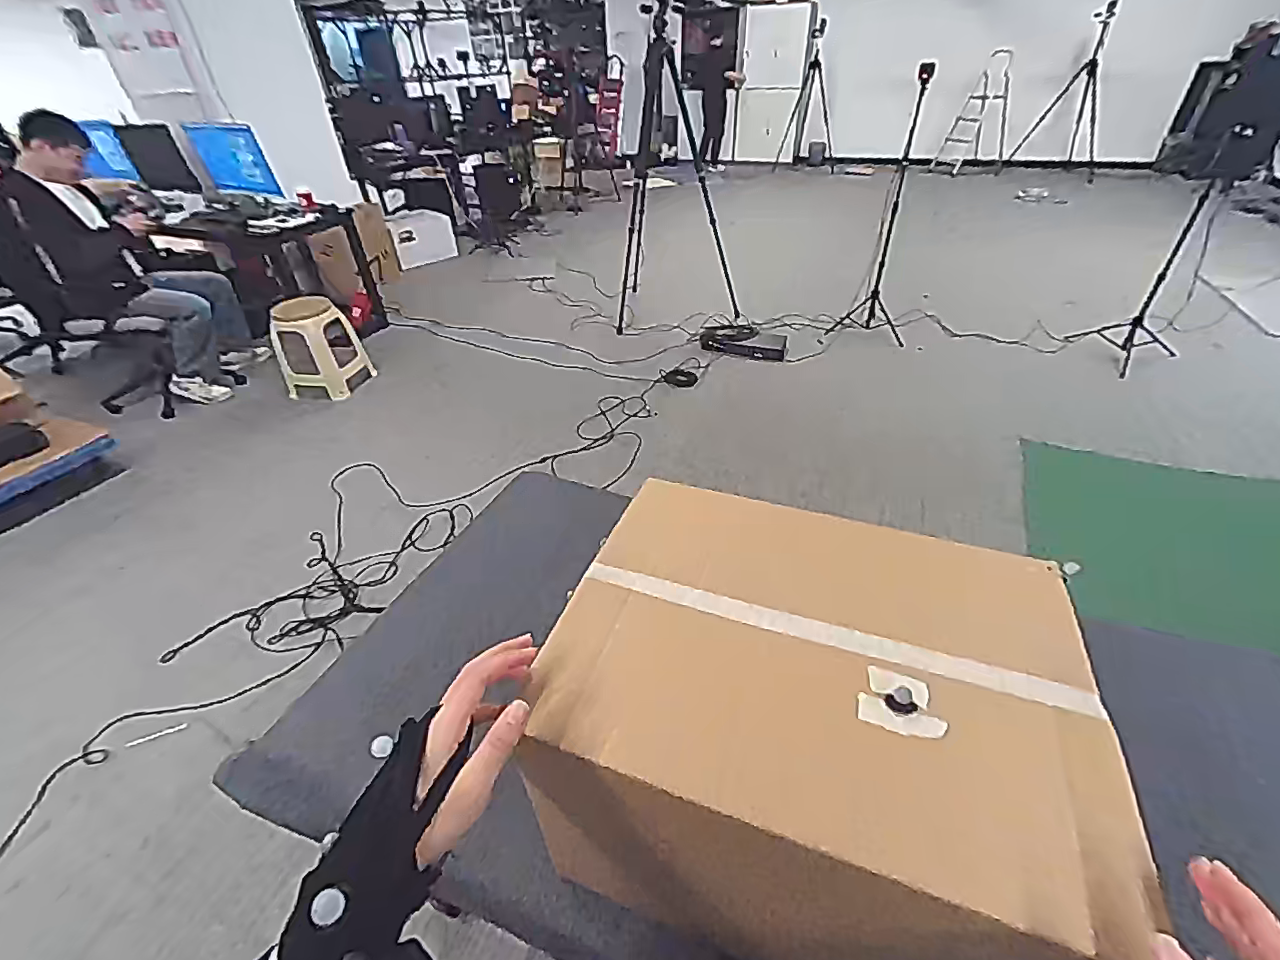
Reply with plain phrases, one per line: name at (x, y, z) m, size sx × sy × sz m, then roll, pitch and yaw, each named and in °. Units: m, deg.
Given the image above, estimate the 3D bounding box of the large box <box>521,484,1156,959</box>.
large box at (0.146, 0.247, 0.546) m, size 0.408 × 0.320 × 0.320 m, roll 13°, pitch 40°, yaw 17°
